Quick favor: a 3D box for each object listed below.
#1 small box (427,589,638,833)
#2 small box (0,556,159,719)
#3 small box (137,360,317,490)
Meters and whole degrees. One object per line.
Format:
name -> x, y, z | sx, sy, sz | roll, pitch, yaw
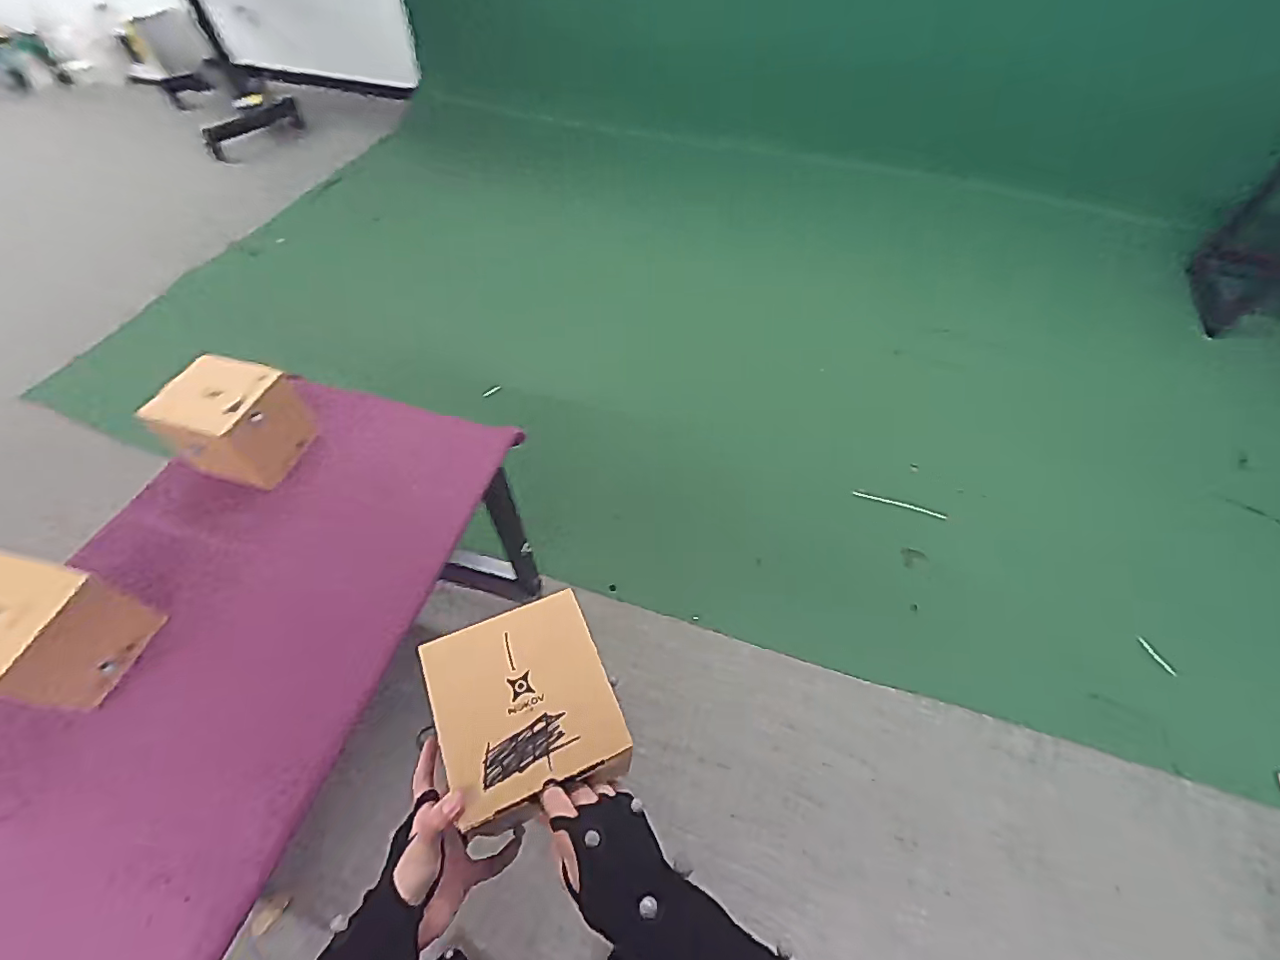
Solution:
small box -> -0.110, 0.251, 0.582 | 0.168, 0.176, 0.179 | -18, 58, -16
small box -> -0.888, 0.234, 0.792 | 0.179, 0.176, 0.168 | 12, 55, 7
small box -> -0.773, -0.100, 1.036 | 0.179, 0.176, 0.168 | 13, 55, 9
